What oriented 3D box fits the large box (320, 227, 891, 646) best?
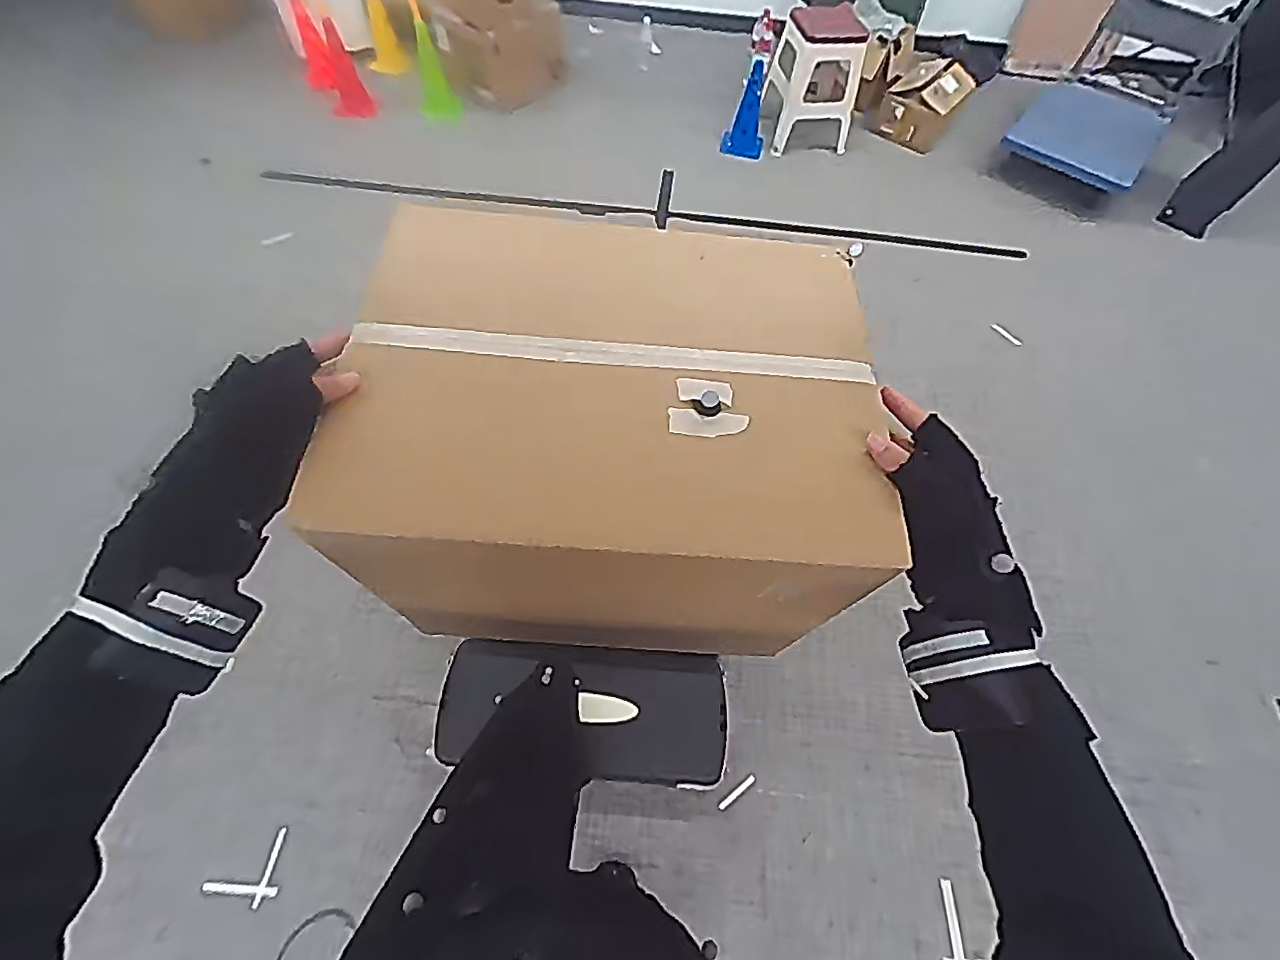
[{"bbox_3d":[-0.027,-0.019,0.571,0.408,0.320,0.320,5,62,-3],"label":"large box"}]
